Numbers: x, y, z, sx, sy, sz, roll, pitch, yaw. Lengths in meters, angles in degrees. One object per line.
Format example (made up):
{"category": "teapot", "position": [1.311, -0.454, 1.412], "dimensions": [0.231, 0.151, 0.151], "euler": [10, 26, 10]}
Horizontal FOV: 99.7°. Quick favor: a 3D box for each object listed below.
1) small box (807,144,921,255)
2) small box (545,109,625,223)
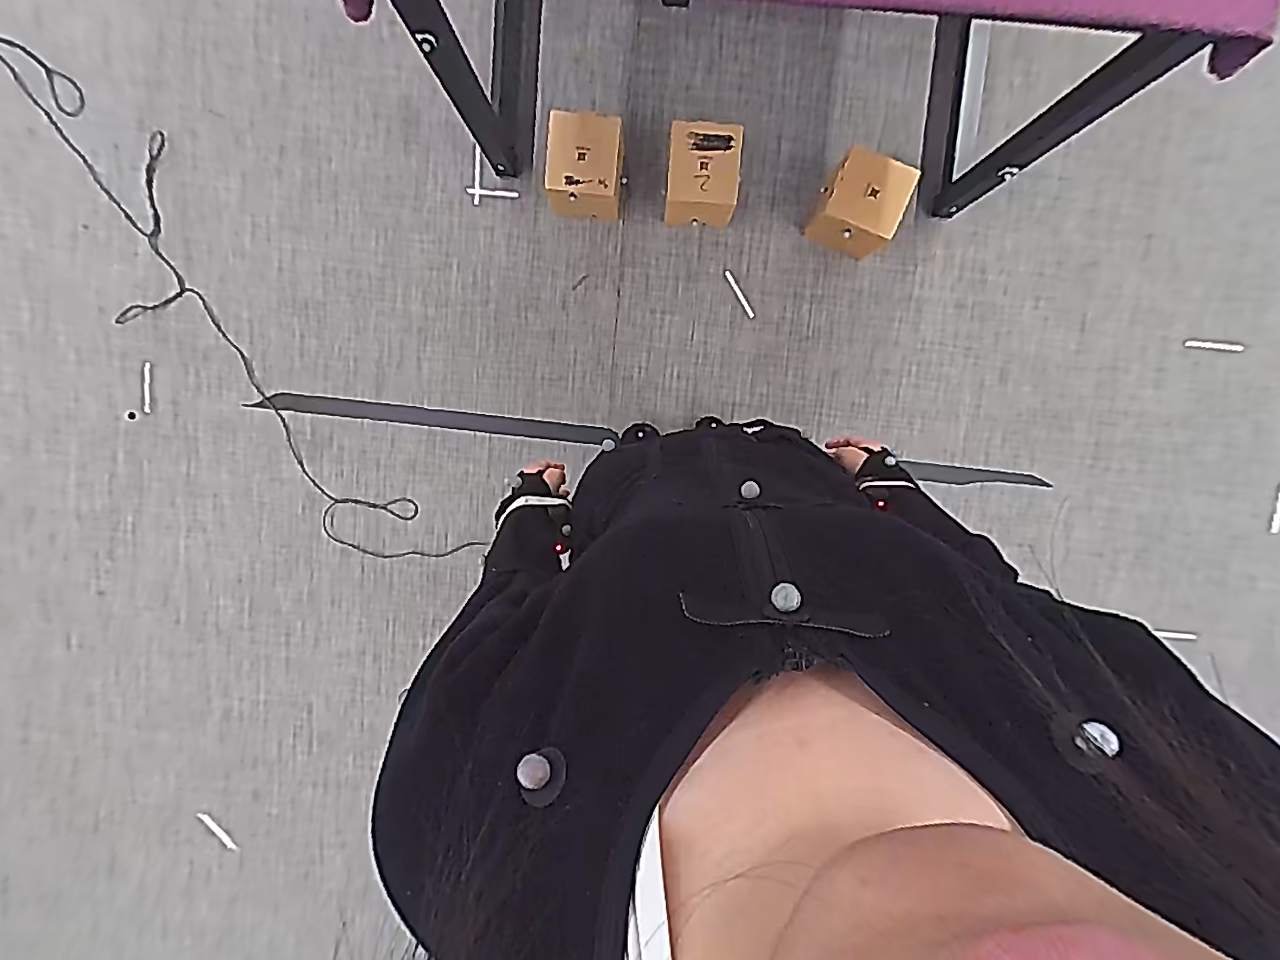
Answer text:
{"category": "small box", "position": [0.540, -0.675, 1.327], "dimensions": [0.179, 0.176, 0.168], "euler": [22, 97, -1]}
{"category": "small box", "position": [-0.129, -0.760, 1.324], "dimensions": [0.168, 0.176, 0.179], "euler": [7, 95, 0]}
